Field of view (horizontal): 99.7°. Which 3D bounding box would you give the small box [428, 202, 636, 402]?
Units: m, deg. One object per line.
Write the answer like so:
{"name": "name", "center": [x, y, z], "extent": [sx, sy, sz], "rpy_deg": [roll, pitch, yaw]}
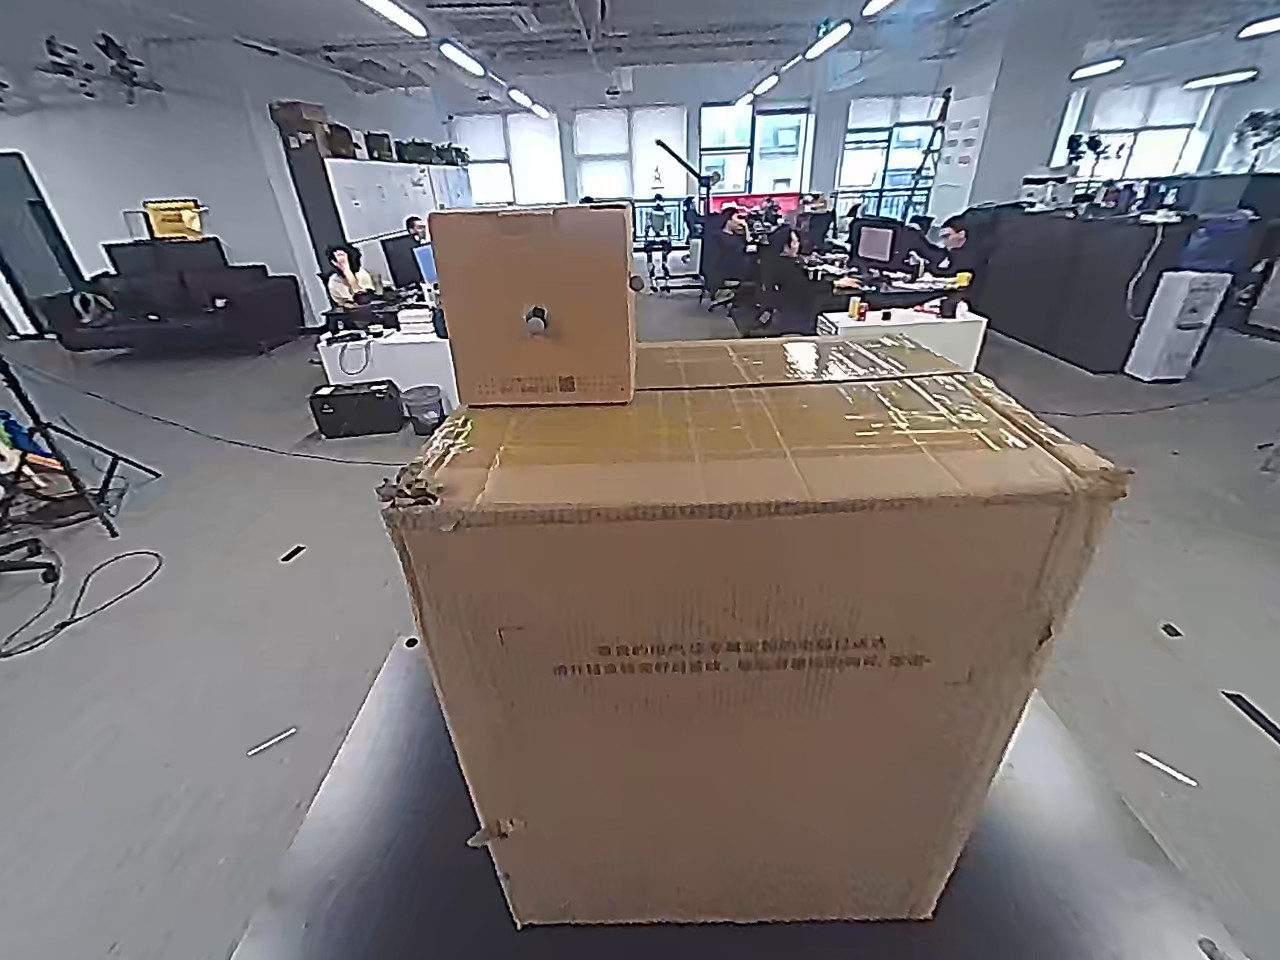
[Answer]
{"name": "small box", "center": [-0.090, -0.183, 0.550], "extent": [0.168, 0.176, 0.179], "rpy_deg": [-1, 28, 1]}
